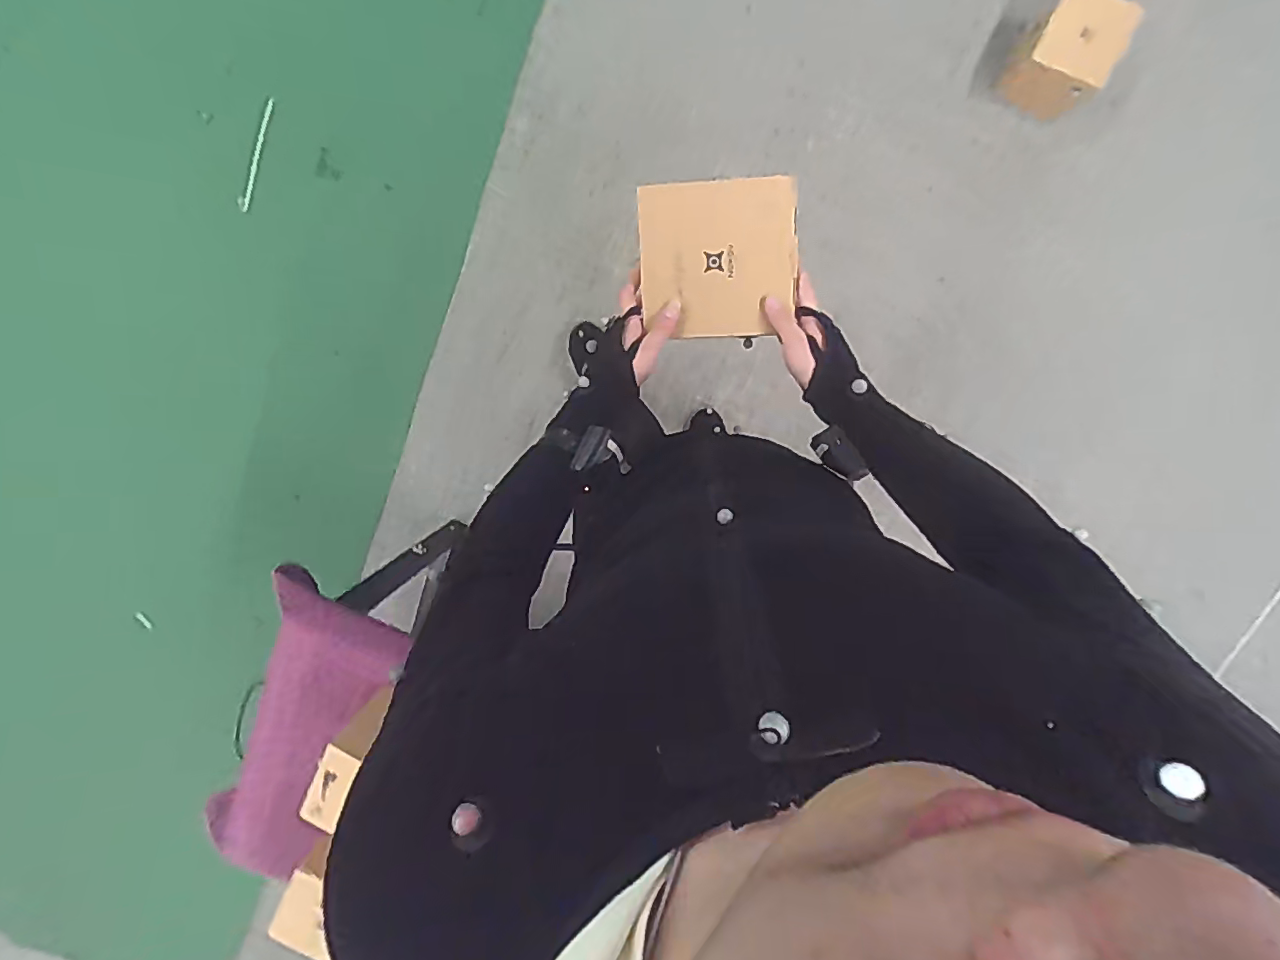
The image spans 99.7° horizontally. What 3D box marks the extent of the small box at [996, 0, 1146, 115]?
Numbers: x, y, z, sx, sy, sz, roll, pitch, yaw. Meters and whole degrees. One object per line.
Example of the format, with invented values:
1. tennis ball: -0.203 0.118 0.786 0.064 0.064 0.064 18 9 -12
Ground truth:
1. small box: 0.973 -0.982 1.242 0.179 0.176 0.168 22 103 -1

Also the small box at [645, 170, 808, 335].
1. small box: 0.097 -0.268 0.670 0.179 0.176 0.168 0 104 4

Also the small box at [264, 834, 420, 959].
1. small box: -0.538 0.752 1.002 0.168 0.176 0.179 29 103 -1

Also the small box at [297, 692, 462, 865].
1. small box: -0.440 0.506 0.940 0.179 0.176 0.168 27 104 -2
